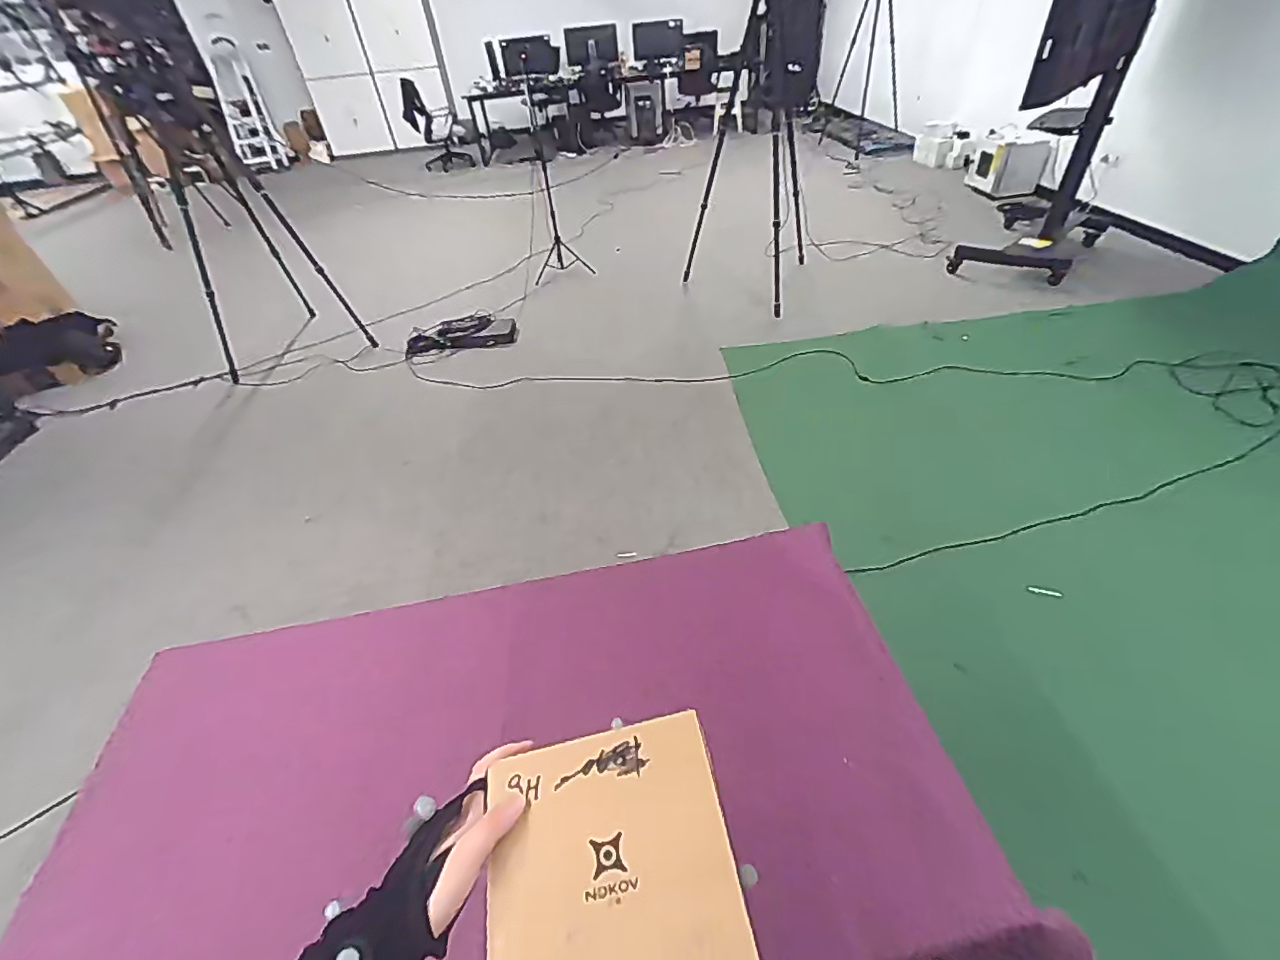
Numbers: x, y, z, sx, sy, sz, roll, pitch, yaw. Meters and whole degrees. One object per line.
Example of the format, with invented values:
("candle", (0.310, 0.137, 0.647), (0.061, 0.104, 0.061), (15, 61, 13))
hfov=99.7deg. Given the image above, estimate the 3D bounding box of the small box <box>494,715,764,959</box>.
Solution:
("small box", (-0.004, 0.310, 0.417), (0.168, 0.176, 0.179), (-14, 50, -1))
